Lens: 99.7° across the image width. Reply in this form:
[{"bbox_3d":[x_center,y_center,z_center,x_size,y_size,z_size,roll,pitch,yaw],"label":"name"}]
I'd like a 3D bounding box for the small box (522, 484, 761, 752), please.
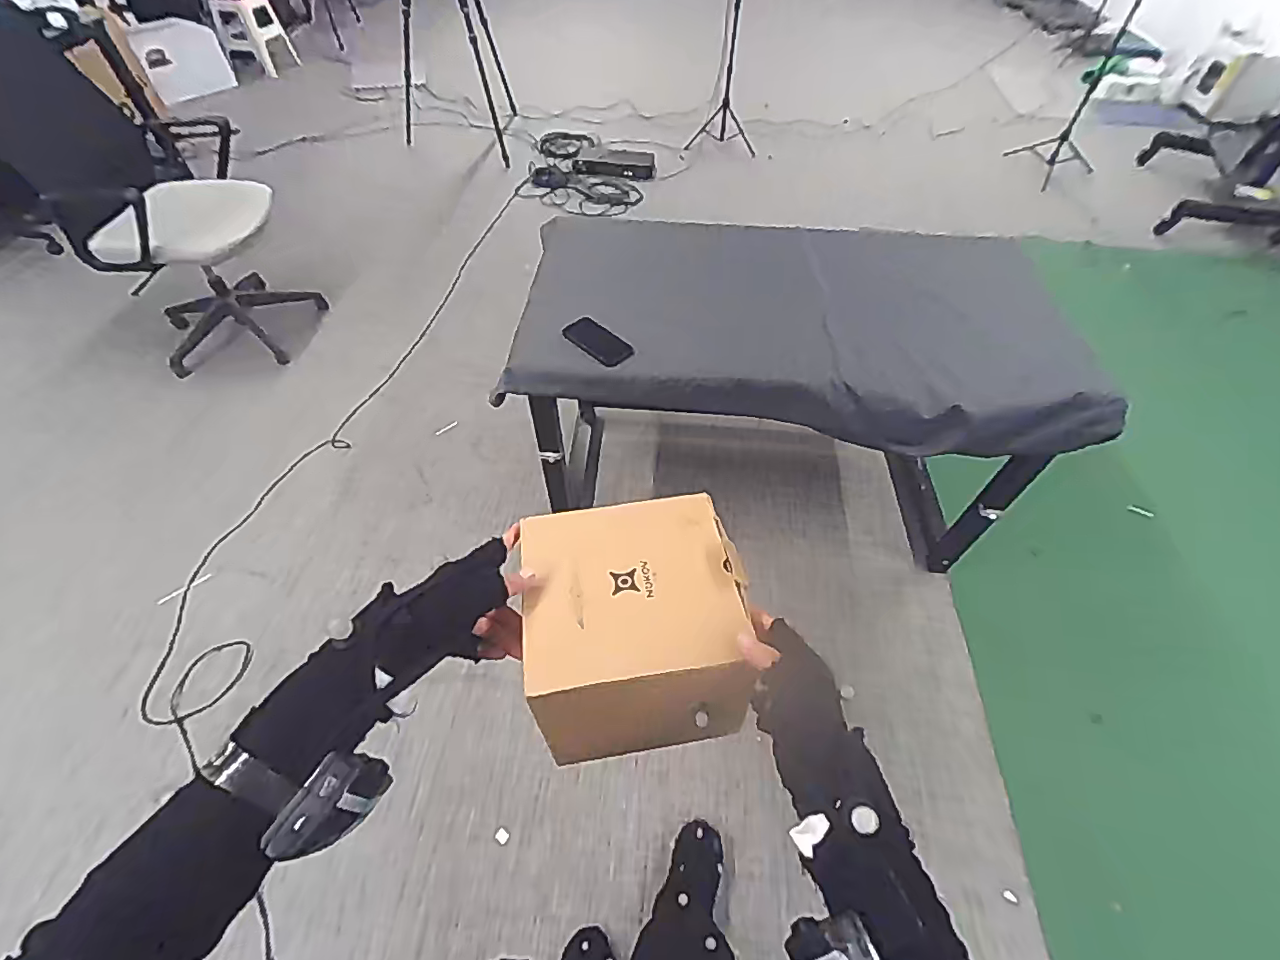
[{"bbox_3d":[-0.006,0.129,0.500,0.179,0.176,0.168,-9,47,-5],"label":"small box"}]
